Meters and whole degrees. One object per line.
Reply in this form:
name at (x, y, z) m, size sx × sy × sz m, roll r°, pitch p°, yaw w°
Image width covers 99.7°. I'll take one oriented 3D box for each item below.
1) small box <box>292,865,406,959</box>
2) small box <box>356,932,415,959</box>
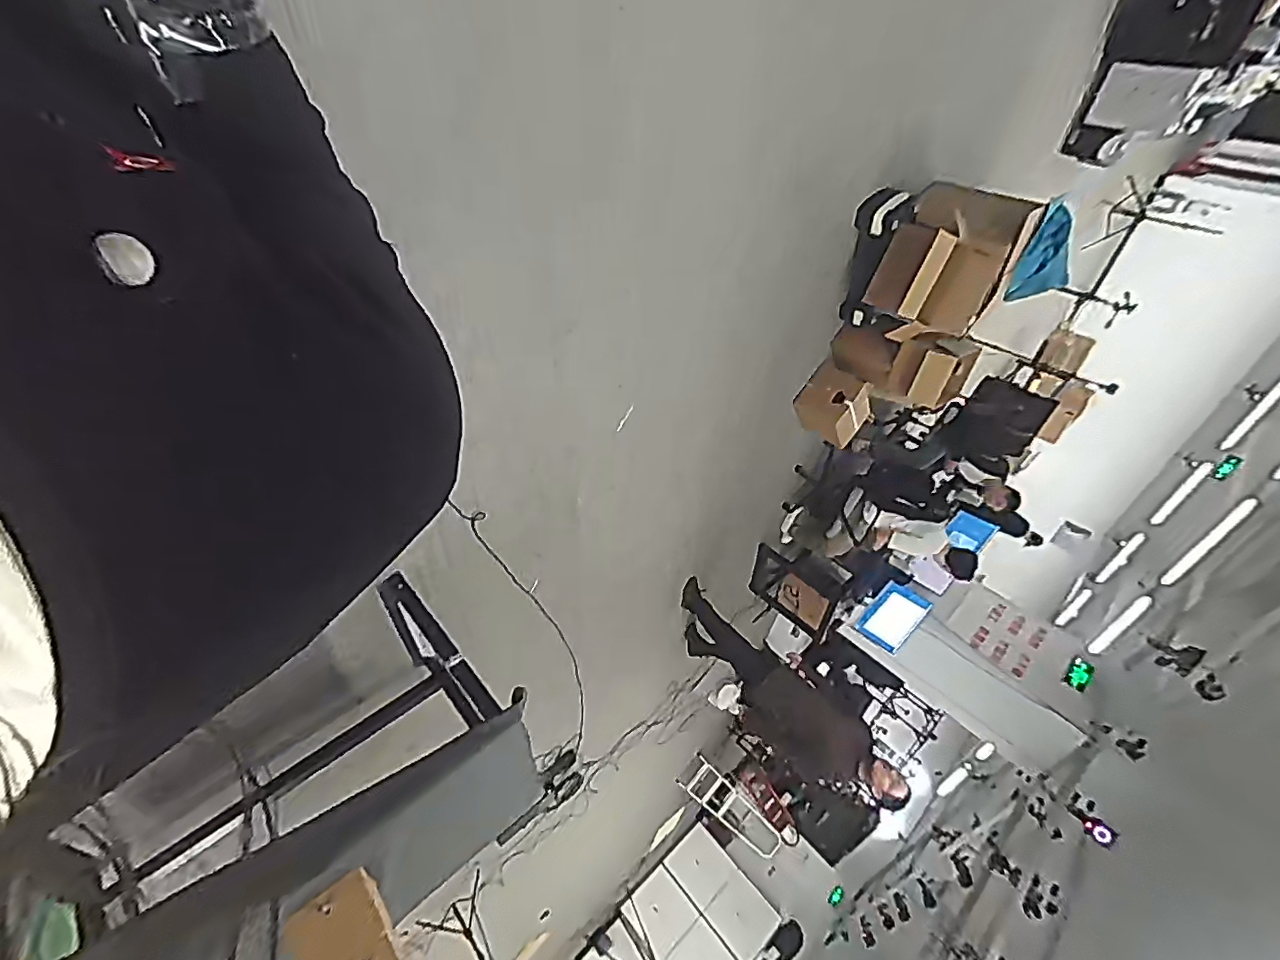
small box at (-0.686, 1.064, 1.269) m, size 0.179 × 0.176 × 0.168 m, roll -29°, pitch 141°, yaw -33°
small box at (-0.574, 1.152, 1.191) m, size 0.168 × 0.176 × 0.179 m, roll -32°, pitch 141°, yaw -34°
